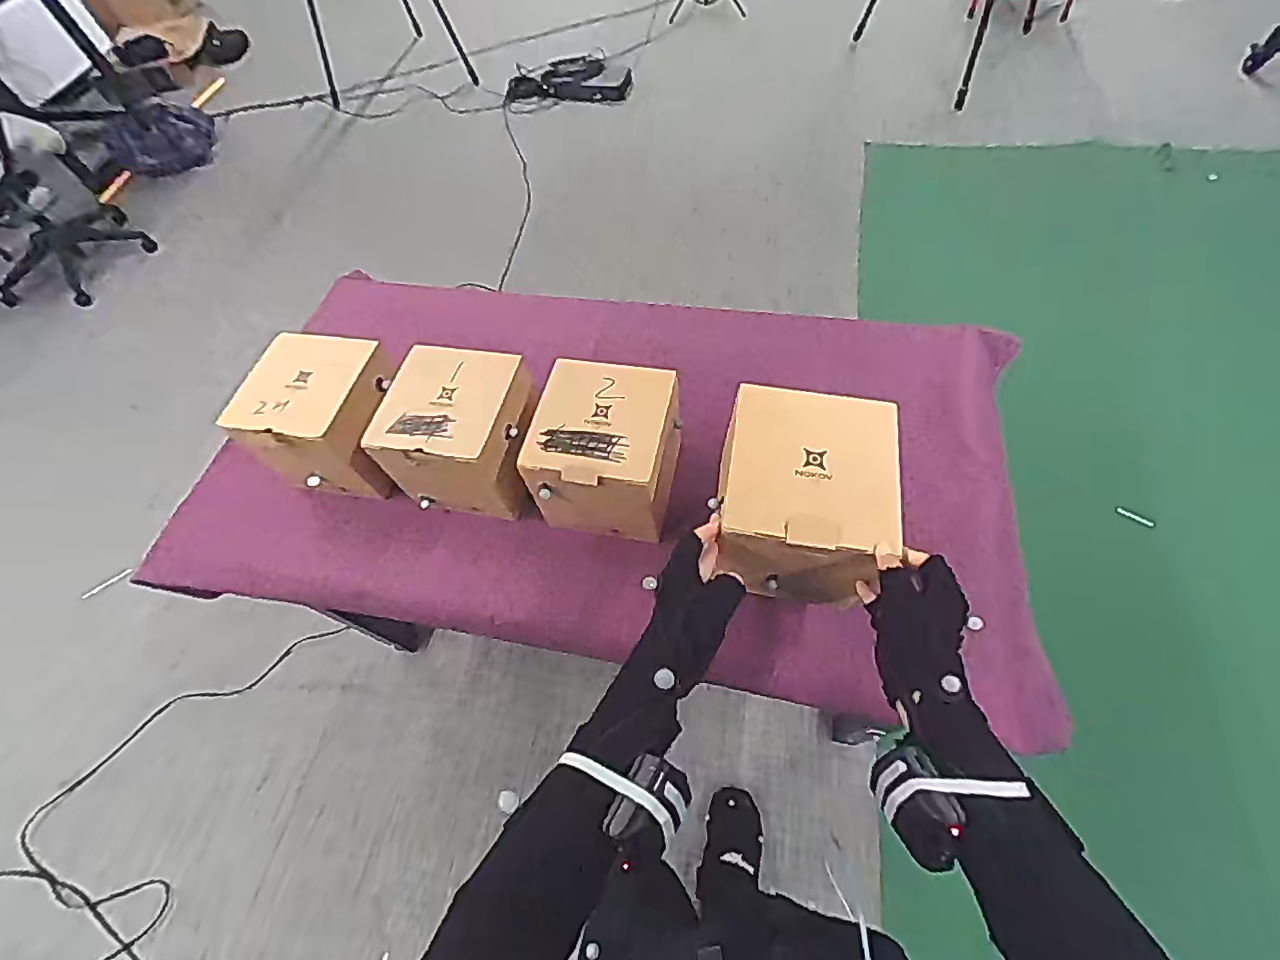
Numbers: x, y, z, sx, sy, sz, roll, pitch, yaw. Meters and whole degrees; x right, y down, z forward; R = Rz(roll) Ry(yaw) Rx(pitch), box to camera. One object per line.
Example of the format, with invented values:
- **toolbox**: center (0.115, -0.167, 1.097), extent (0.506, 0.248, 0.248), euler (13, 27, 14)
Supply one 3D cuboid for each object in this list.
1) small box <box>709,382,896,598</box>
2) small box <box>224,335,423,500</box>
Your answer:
- **small box**: center (0.172, 0.017, 0.612), extent (0.168, 0.176, 0.179), euler (8, 64, 7)
- **small box**: center (-0.459, -0.092, 0.821), extent (0.168, 0.176, 0.179), euler (7, 62, 11)
